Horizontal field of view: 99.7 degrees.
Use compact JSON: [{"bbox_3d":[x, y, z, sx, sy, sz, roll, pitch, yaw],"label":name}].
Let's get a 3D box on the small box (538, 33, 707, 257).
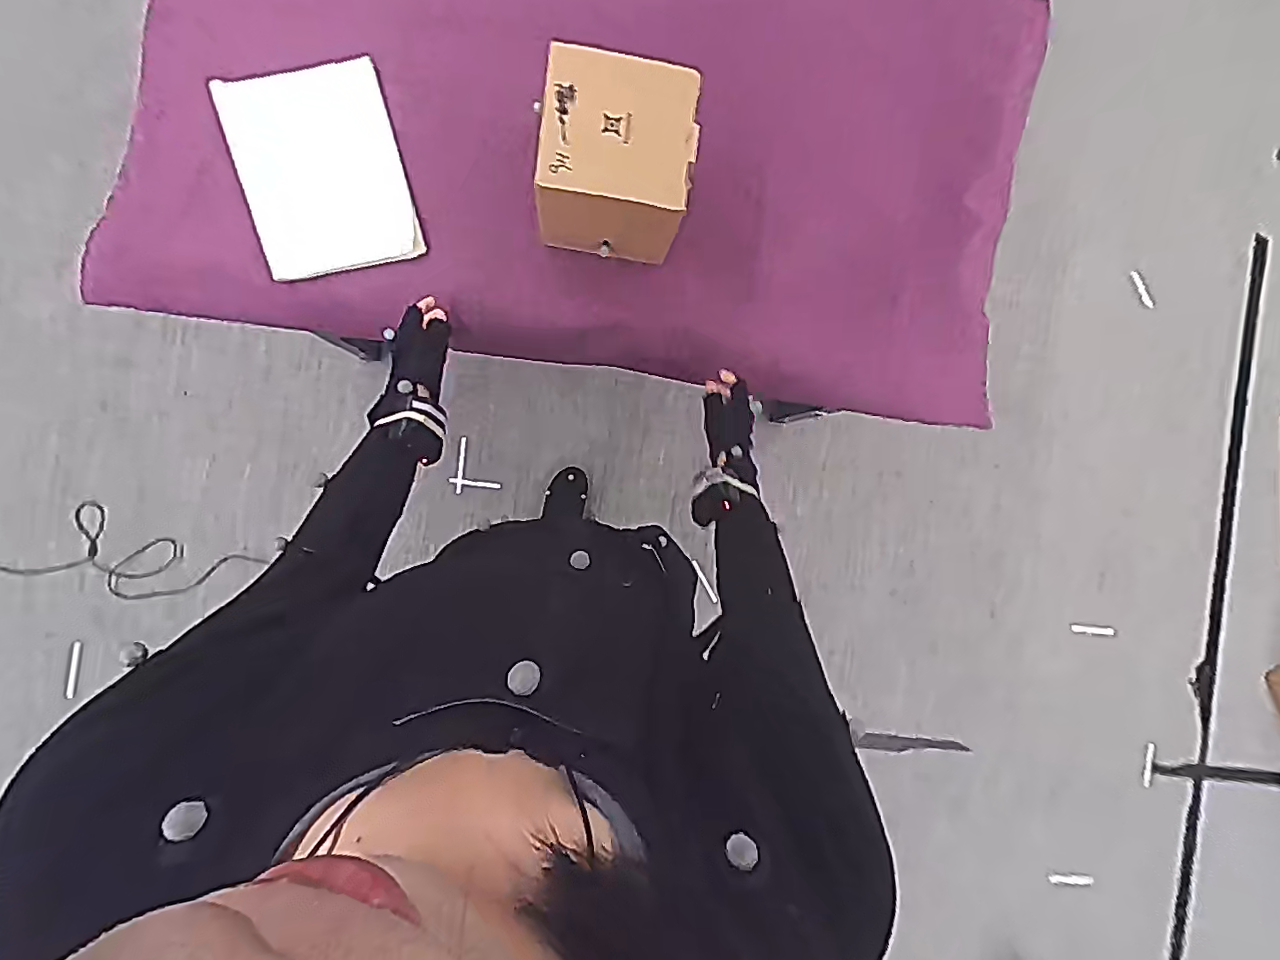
[{"bbox_3d":[-0.029,-0.405,0.689,0.179,0.176,0.168,7,90,-8],"label":"small box"}]
